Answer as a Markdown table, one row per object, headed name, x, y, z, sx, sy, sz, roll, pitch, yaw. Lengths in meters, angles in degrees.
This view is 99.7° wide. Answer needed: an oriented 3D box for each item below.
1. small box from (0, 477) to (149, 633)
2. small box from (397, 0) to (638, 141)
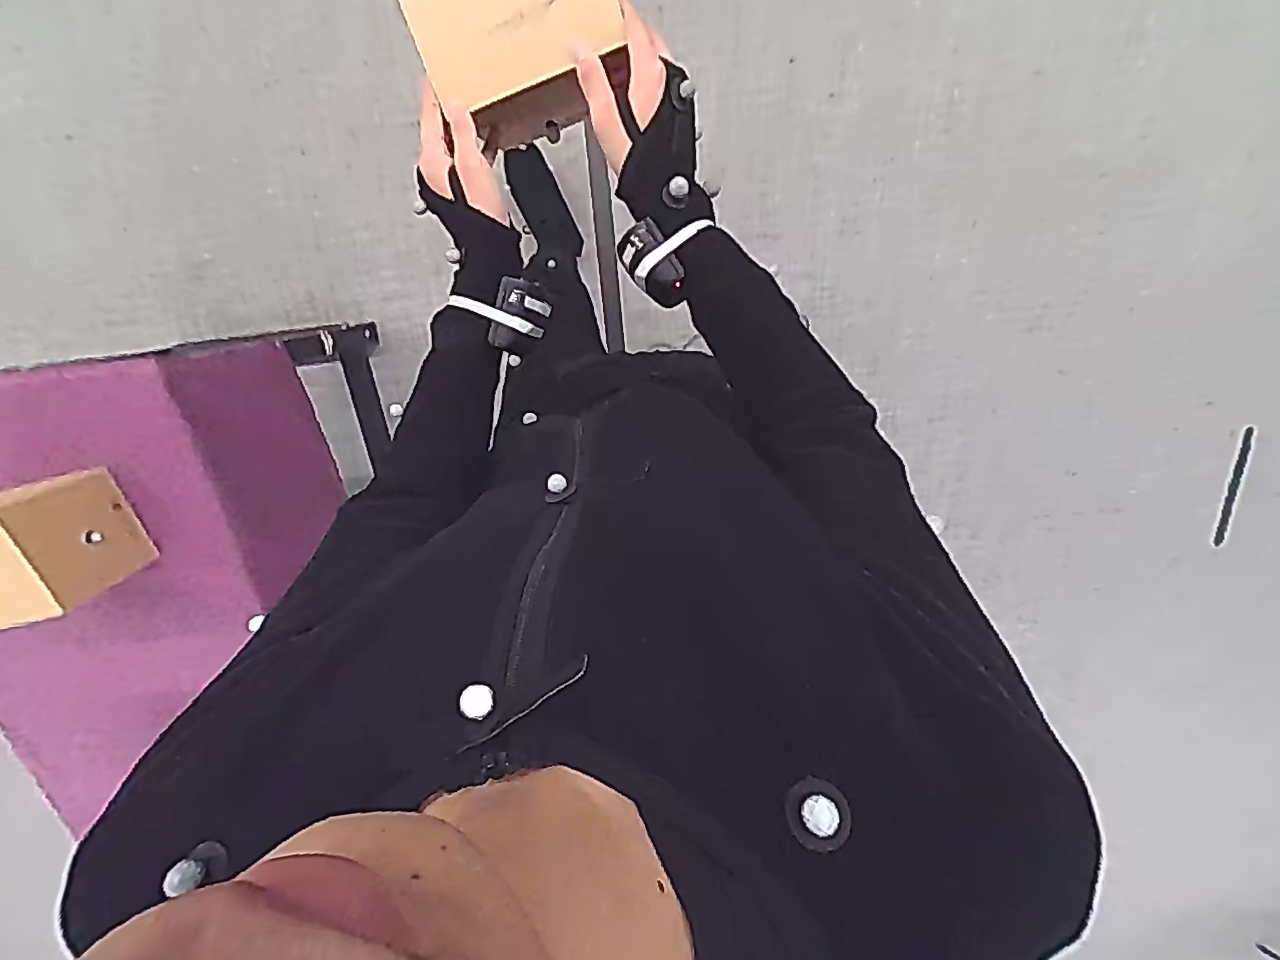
| name | x | y | z | sx | sy | sz | roll | pitch | yaw |
| --- | --- | --- | --- | --- | --- | --- | --- | --- | --- |
| small box | -0.900 | 0.108 | 0.807 | 0.179 | 0.176 | 0.168 | -12 | 111 | 5 |
| small box | -0.107 | -0.430 | 0.471 | 0.168 | 0.176 | 0.179 | -15 | 111 | 11 |
